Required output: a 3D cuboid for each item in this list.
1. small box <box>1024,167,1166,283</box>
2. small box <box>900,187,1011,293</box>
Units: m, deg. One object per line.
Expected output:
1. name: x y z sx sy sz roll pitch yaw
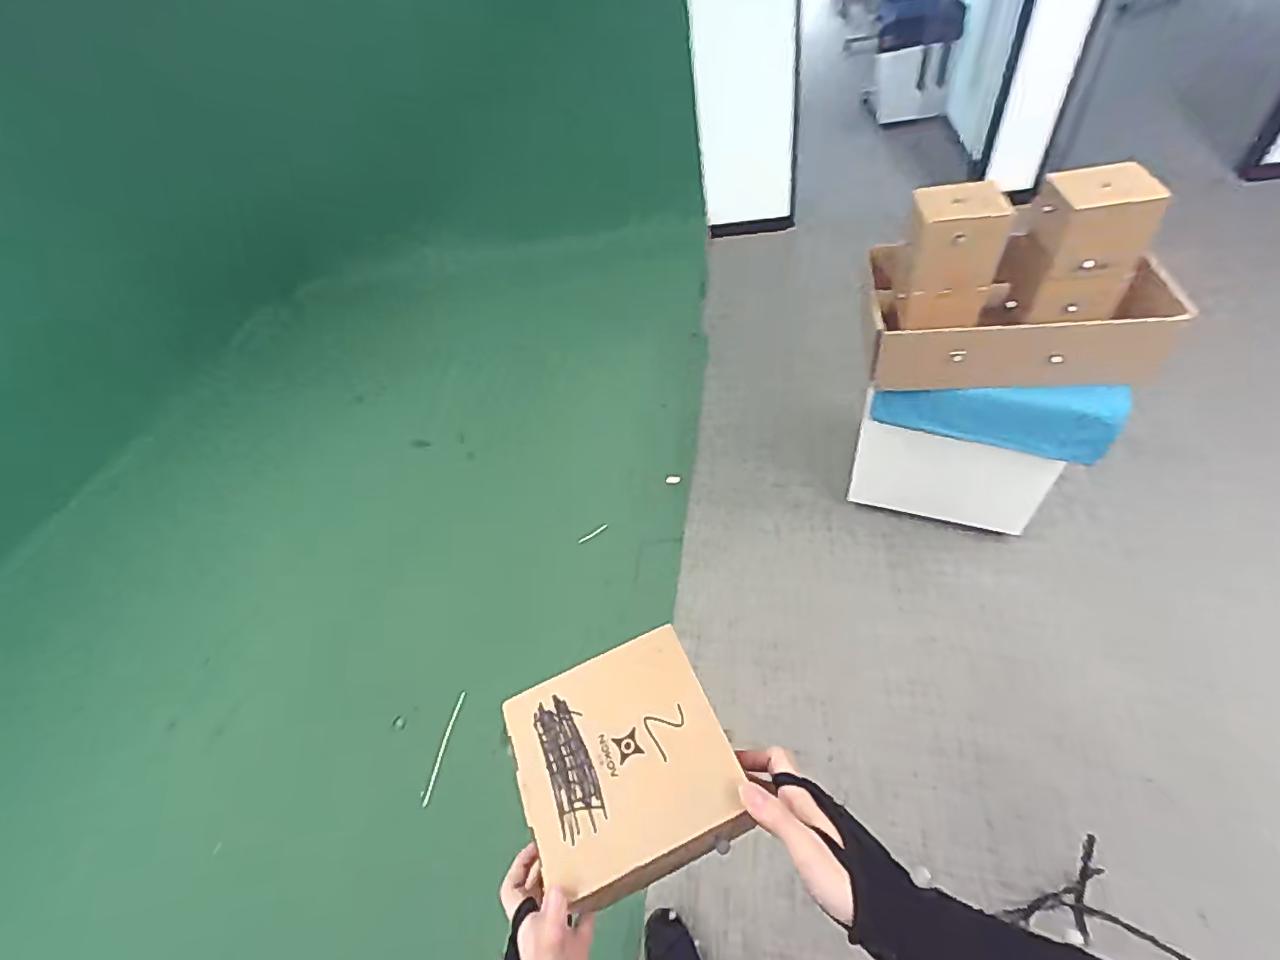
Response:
1. small box: 0.986 -0.559 1.195 0.168 0.176 0.179 -2 49 14
2. small box: 0.716 -0.550 1.253 0.179 0.176 0.168 0 50 12
